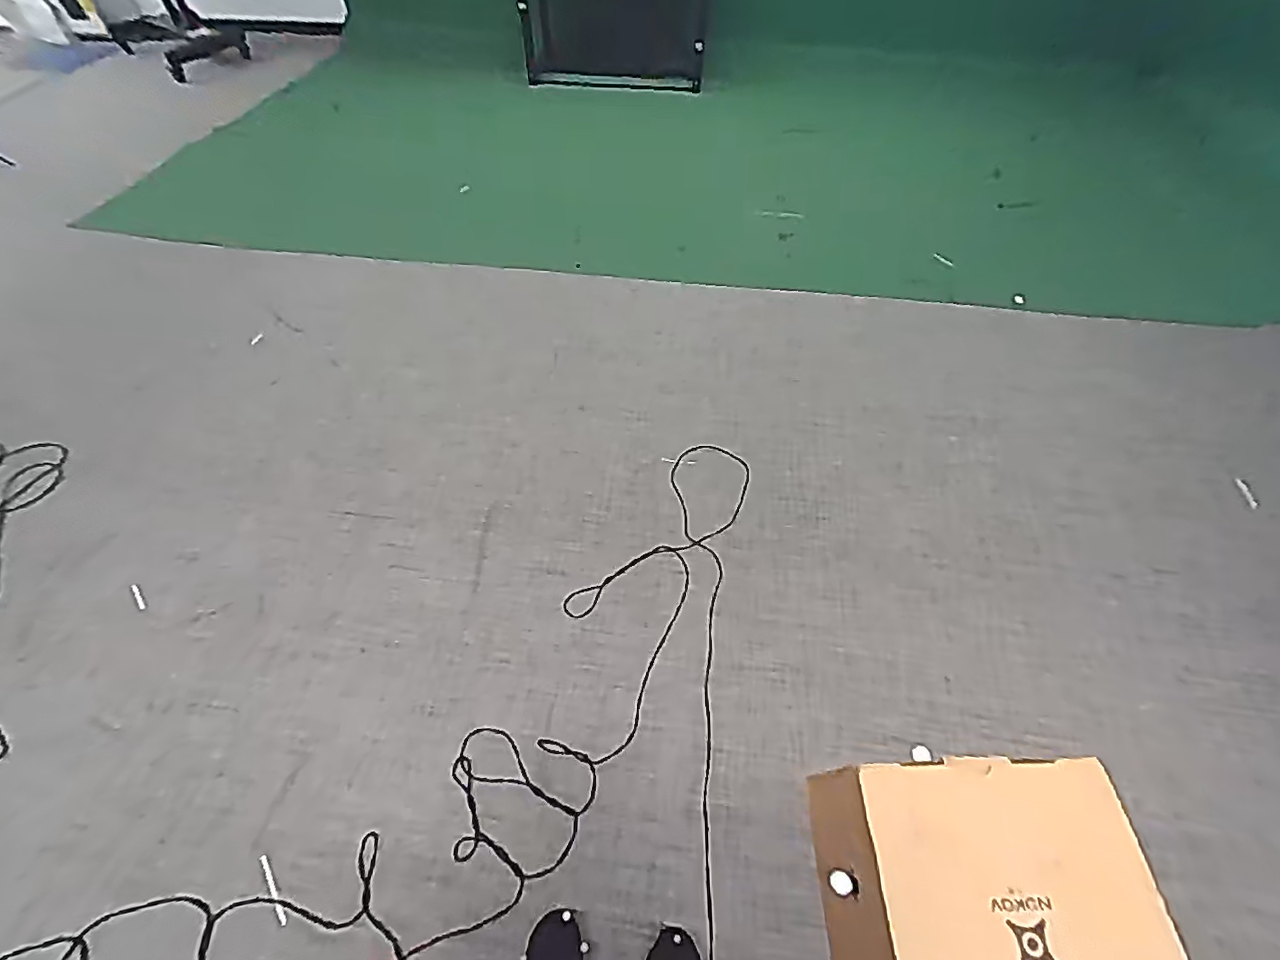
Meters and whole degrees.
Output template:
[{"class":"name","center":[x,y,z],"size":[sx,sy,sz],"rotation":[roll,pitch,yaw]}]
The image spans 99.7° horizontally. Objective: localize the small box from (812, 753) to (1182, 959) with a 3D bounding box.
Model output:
[{"class":"small box","center":[0.237,0.309,0.396],"size":[0.168,0.176,0.179],"rotation":[-3,57,2]}]
